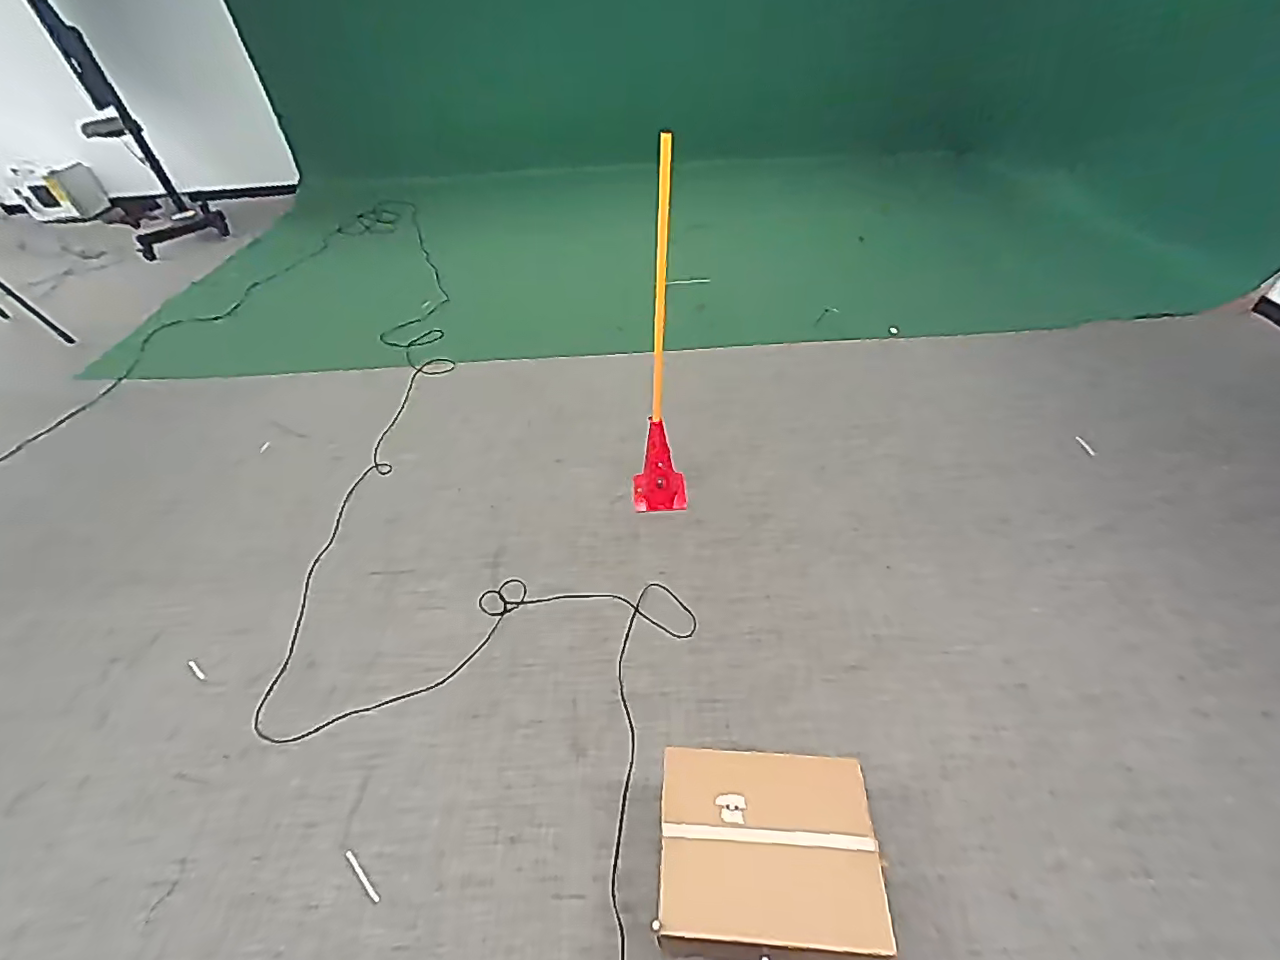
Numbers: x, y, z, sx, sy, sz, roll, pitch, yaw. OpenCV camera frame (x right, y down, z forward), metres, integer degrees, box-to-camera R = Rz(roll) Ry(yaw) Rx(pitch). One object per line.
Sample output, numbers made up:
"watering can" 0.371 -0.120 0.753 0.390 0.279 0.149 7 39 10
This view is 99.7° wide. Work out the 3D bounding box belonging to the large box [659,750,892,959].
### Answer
"large box" 0.252 0.792 1.141 0.408 0.320 0.320 1 44 6
